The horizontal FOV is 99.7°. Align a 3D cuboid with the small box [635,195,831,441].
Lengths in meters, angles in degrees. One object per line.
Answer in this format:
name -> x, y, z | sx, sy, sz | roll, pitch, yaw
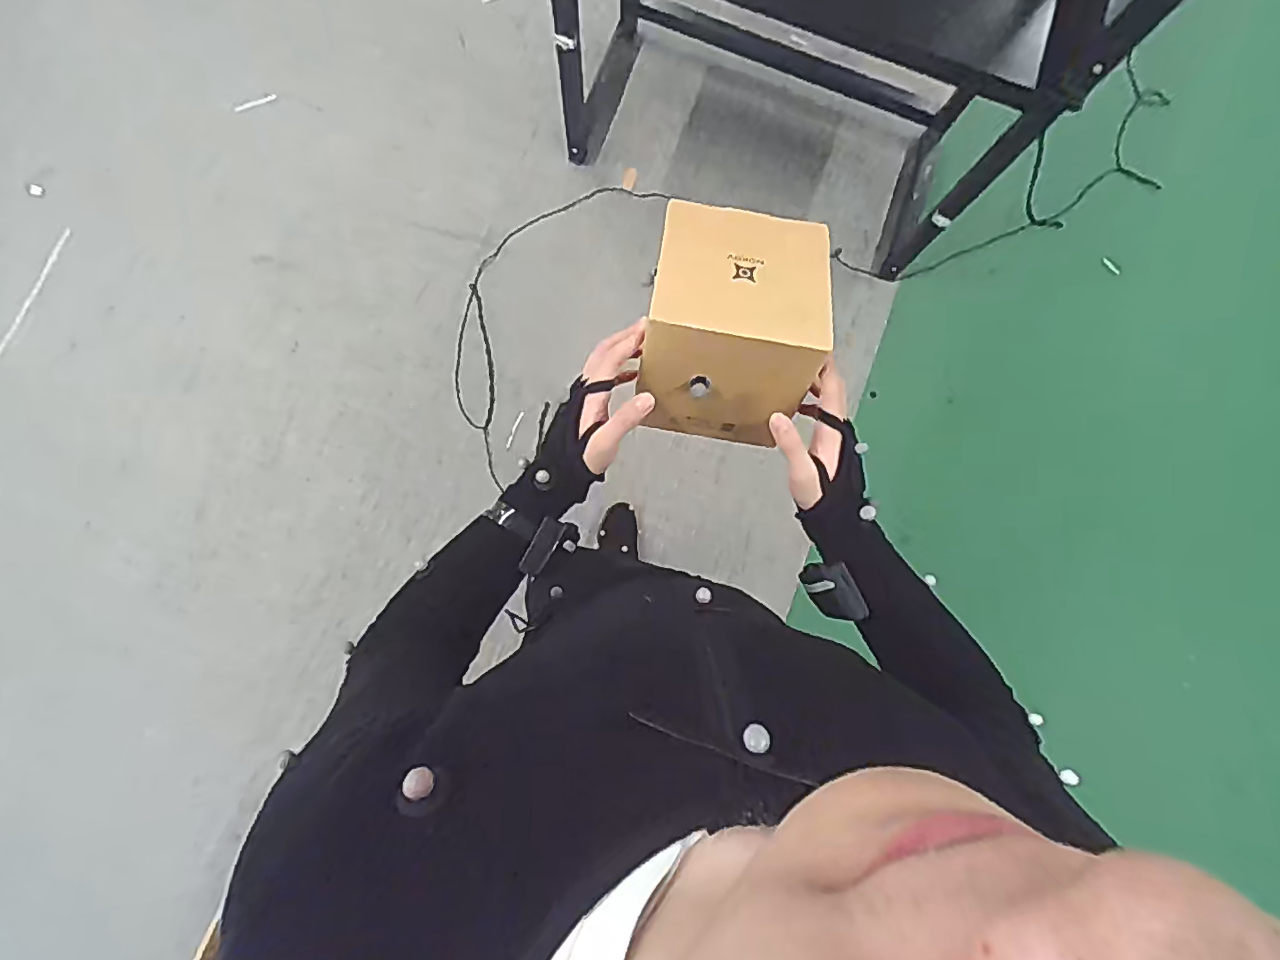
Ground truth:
small box -> 0.088, -0.161, 0.570 | 0.168, 0.176, 0.179 | 9, 60, 0
